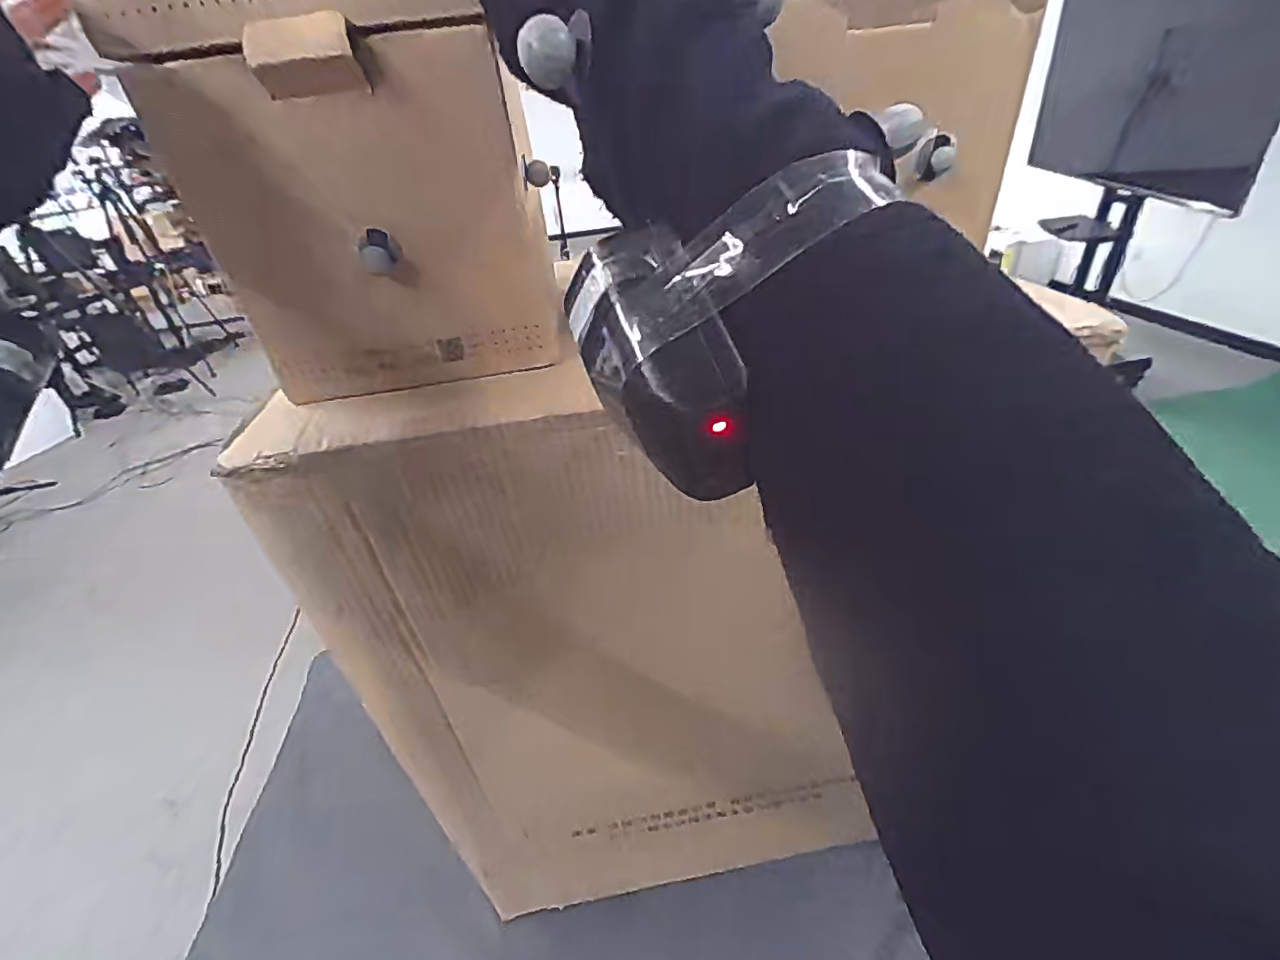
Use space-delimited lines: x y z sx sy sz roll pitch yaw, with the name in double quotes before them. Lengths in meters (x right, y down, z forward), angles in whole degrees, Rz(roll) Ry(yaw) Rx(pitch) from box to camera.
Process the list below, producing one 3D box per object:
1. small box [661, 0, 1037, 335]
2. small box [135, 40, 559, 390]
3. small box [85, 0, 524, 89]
"small box" 0.112 -0.205 0.374 0.168 0.176 0.179 -7 34 -5
"small box" -0.149 -0.168 0.357 0.168 0.176 0.179 -9 36 -4
"small box" -0.159 -0.287 0.268 0.179 0.176 0.168 -9 35 -4
